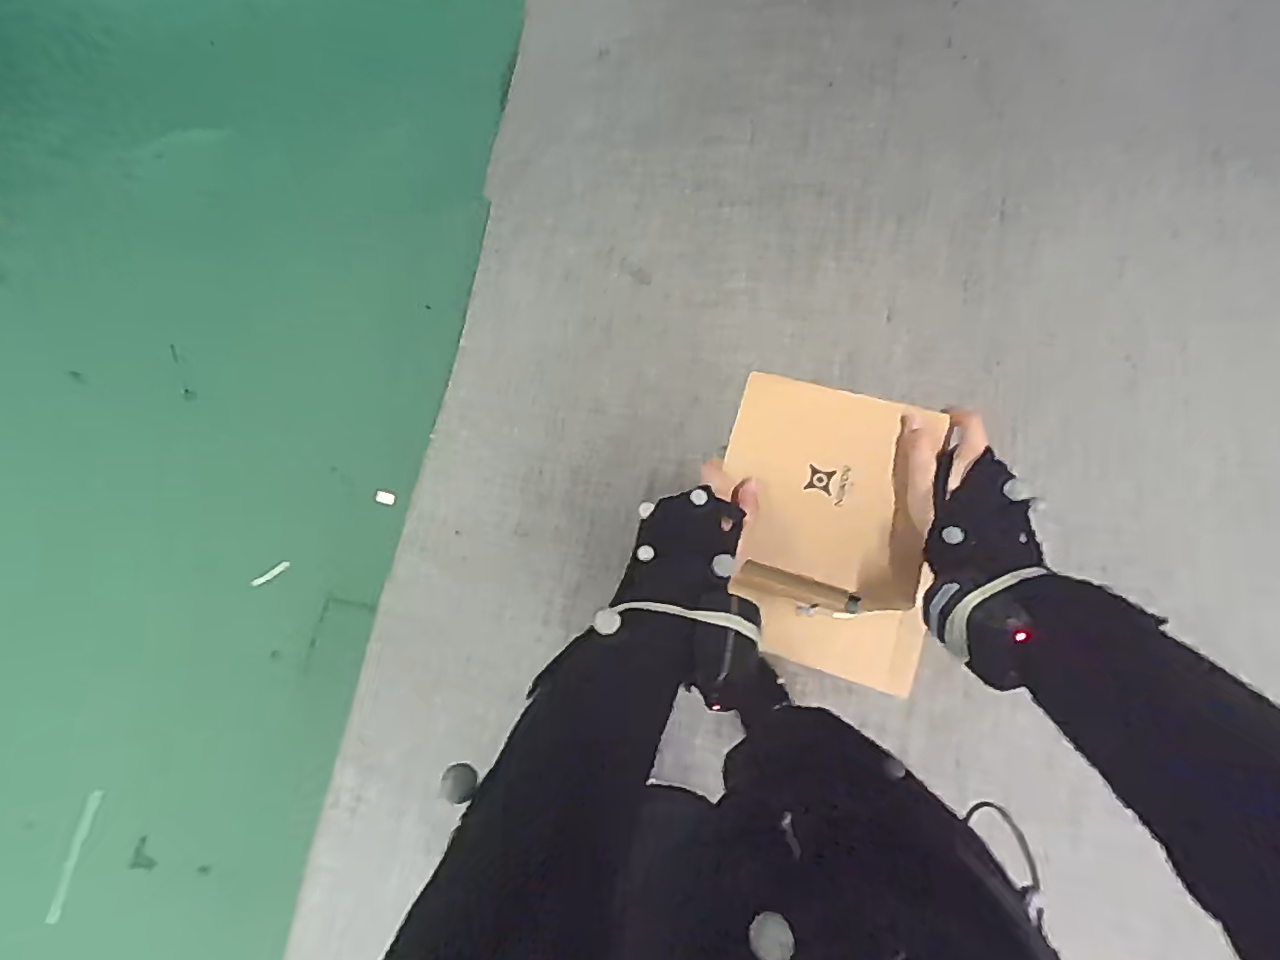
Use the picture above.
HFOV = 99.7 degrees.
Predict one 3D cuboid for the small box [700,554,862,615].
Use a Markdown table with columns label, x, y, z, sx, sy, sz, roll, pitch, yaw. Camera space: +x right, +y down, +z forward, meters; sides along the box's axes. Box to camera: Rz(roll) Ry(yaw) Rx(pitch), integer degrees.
| label | x | y | z | sx | sy | sz | roll | pitch | yaw |
| --- | --- | --- | --- | --- | --- | --- | --- | --- | --- |
| small box | 0.185 | 0.065 | 0.681 | 0.179 | 0.176 | 0.168 | 12 | 79 | 14 |

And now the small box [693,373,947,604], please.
| label | x | y | z | sx | sy | sz | roll | pitch | yaw |
| --- | --- | --- | --- | --- | --- | --- | --- | --- | --- |
| small box | 0.162 | 0.020 | 0.527 | 0.179 | 0.176 | 0.168 | 15 | 79 | 13 |

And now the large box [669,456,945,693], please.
| label | x | y | z | sx | sy | sz | roll | pitch | yaw |
| --- | --- | --- | --- | --- | --- | --- | --- | --- | --- |
| large box | 0.299 | 0.176 | 1.054 | 0.408 | 0.320 | 0.320 | 15 | 82 | 13 |
